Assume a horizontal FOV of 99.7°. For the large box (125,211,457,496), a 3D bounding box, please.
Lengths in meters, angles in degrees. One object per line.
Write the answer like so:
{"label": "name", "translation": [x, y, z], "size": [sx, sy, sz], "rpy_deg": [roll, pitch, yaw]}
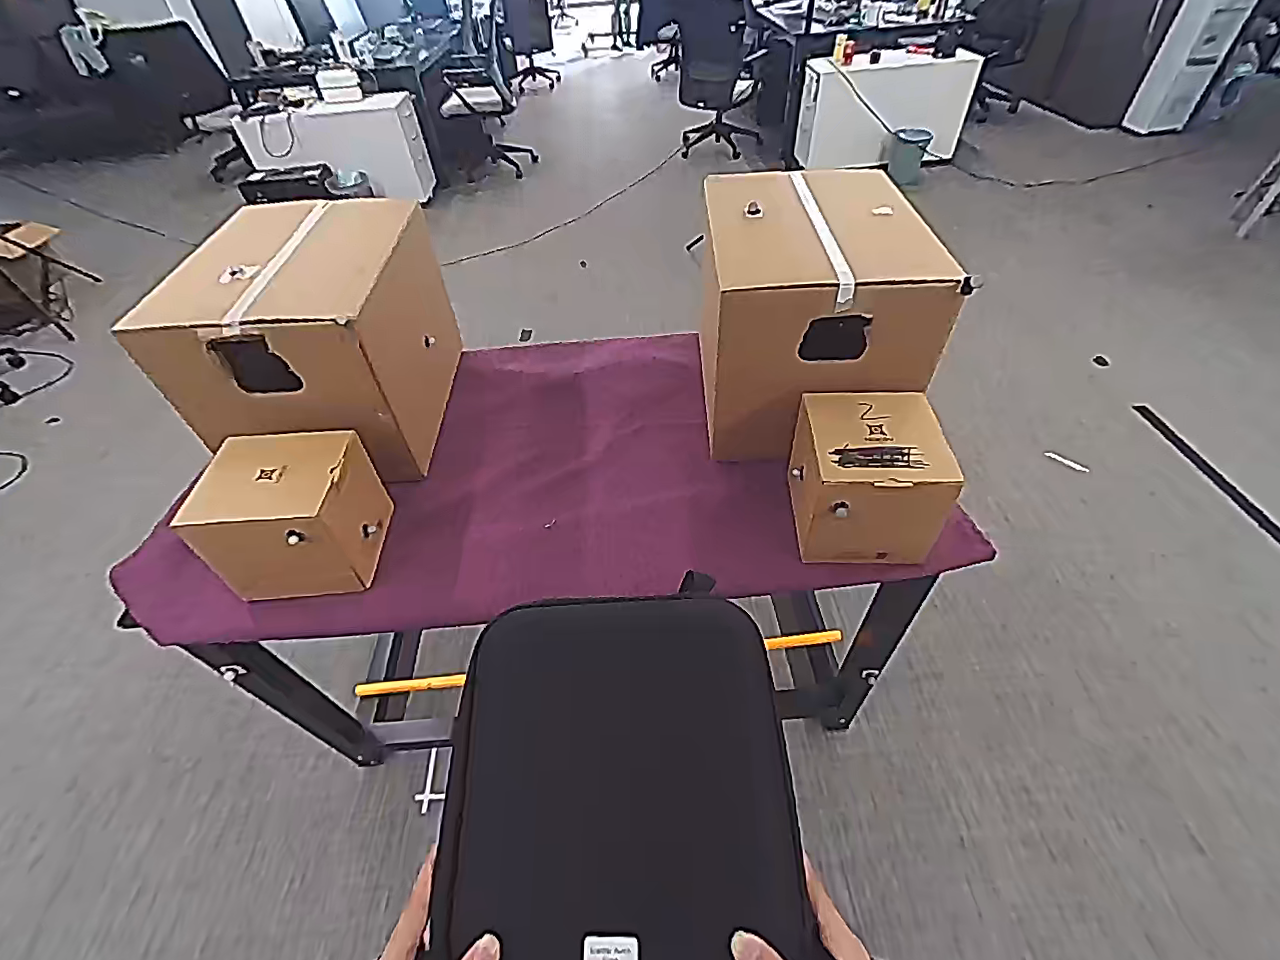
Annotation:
{"label": "large box", "translation": [-0.535, -0.227, 0.948], "size": [0.320, 0.320, 0.408], "rpy_deg": [-4, 49, -1]}
